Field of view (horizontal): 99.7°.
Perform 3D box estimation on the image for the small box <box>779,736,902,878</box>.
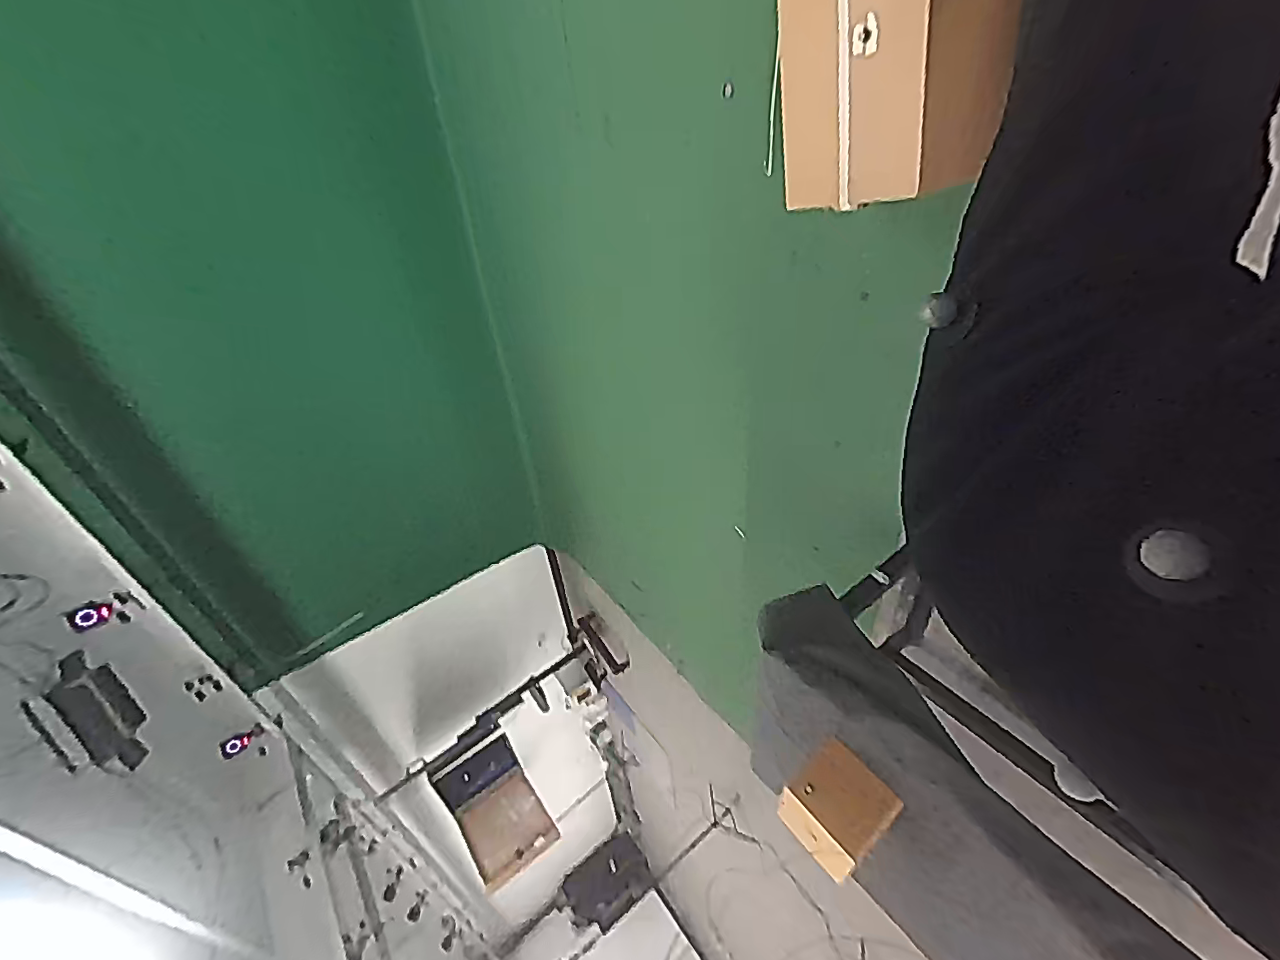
[{"bbox_3d":[0.429,0.697,1.166,0.179,0.176,0.168,39,146,39],"label":"small box"}]
